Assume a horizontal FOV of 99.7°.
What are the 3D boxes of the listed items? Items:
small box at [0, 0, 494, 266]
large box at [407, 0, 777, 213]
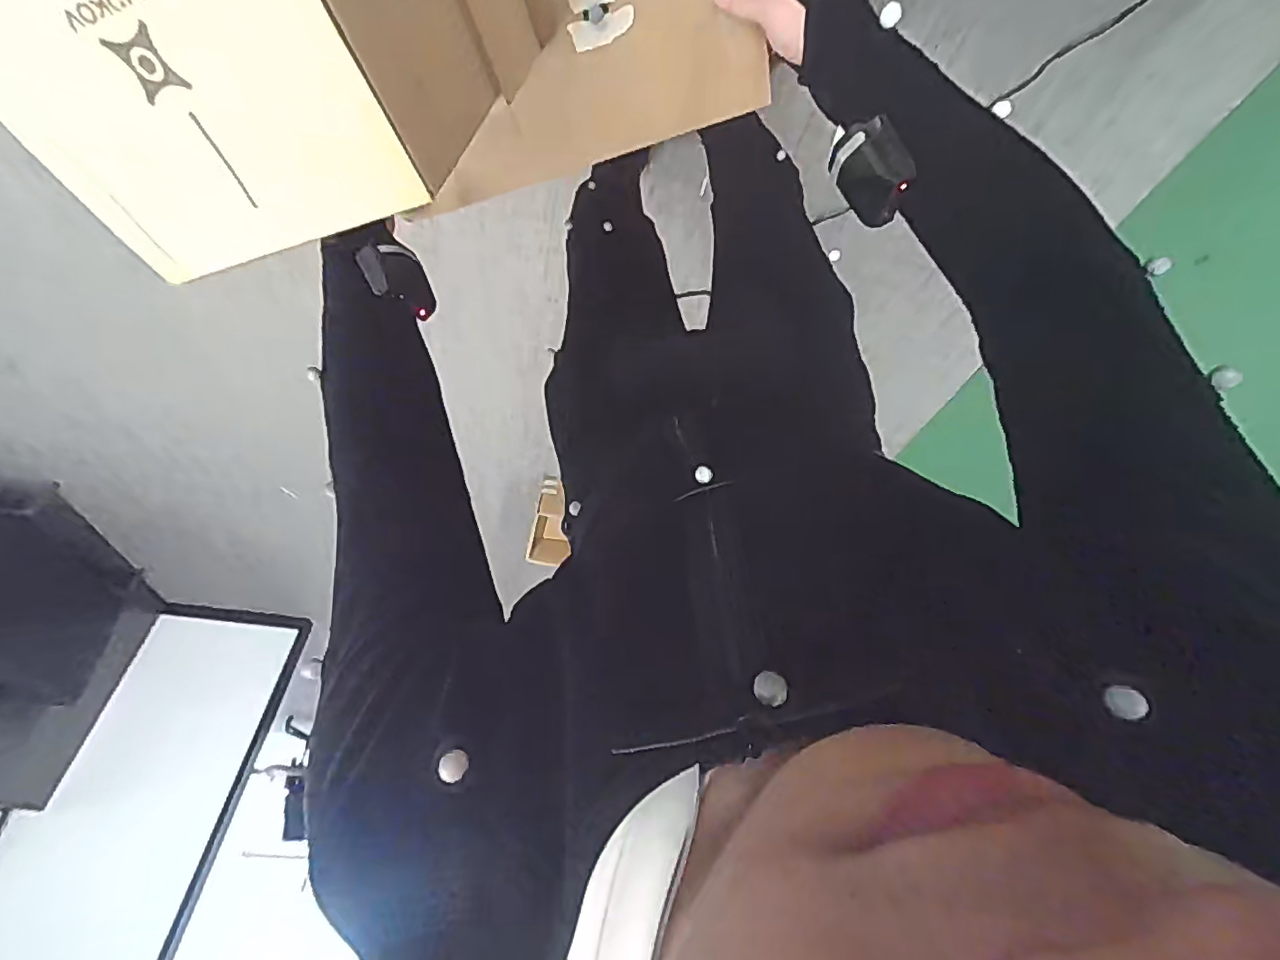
[{"bbox_3d":[-0.194,-0.243,0.266,0.168,0.176,0.179,-10,138,12],"label":"small box"},{"bbox_3d":[-0.106,-0.540,0.544,0.408,0.320,0.320,-12,138,13],"label":"large box"}]
